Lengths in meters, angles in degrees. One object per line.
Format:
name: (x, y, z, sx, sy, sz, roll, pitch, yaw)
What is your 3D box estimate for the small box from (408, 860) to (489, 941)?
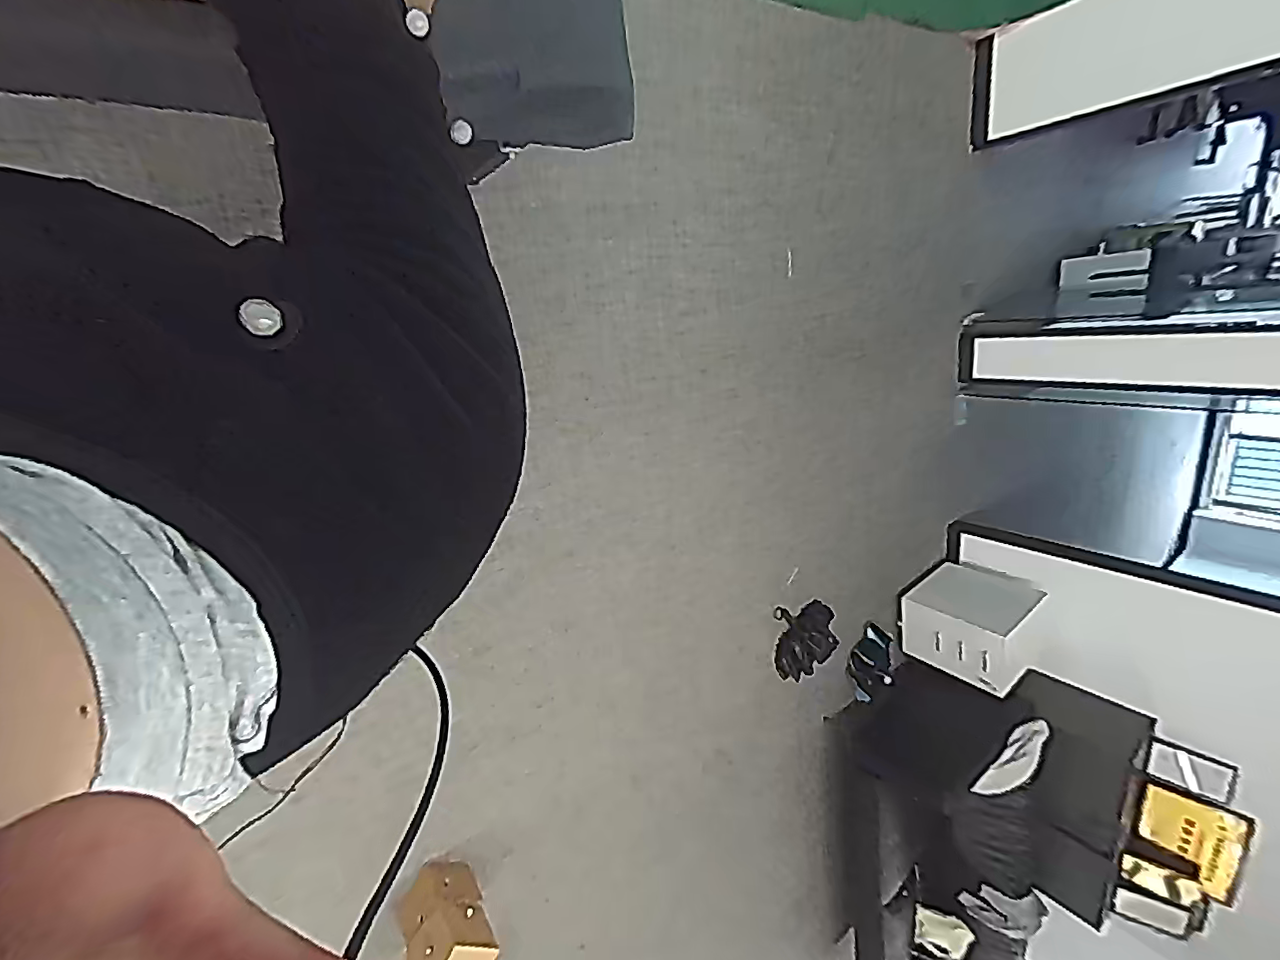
small box: (-0.622, 1.362, 1.739, 0.168, 0.176, 0.179, 32, 82, -36)

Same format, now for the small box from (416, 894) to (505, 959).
small box: (-0.538, 1.382, 1.598, 0.168, 0.176, 0.179, 41, 75, -35)
